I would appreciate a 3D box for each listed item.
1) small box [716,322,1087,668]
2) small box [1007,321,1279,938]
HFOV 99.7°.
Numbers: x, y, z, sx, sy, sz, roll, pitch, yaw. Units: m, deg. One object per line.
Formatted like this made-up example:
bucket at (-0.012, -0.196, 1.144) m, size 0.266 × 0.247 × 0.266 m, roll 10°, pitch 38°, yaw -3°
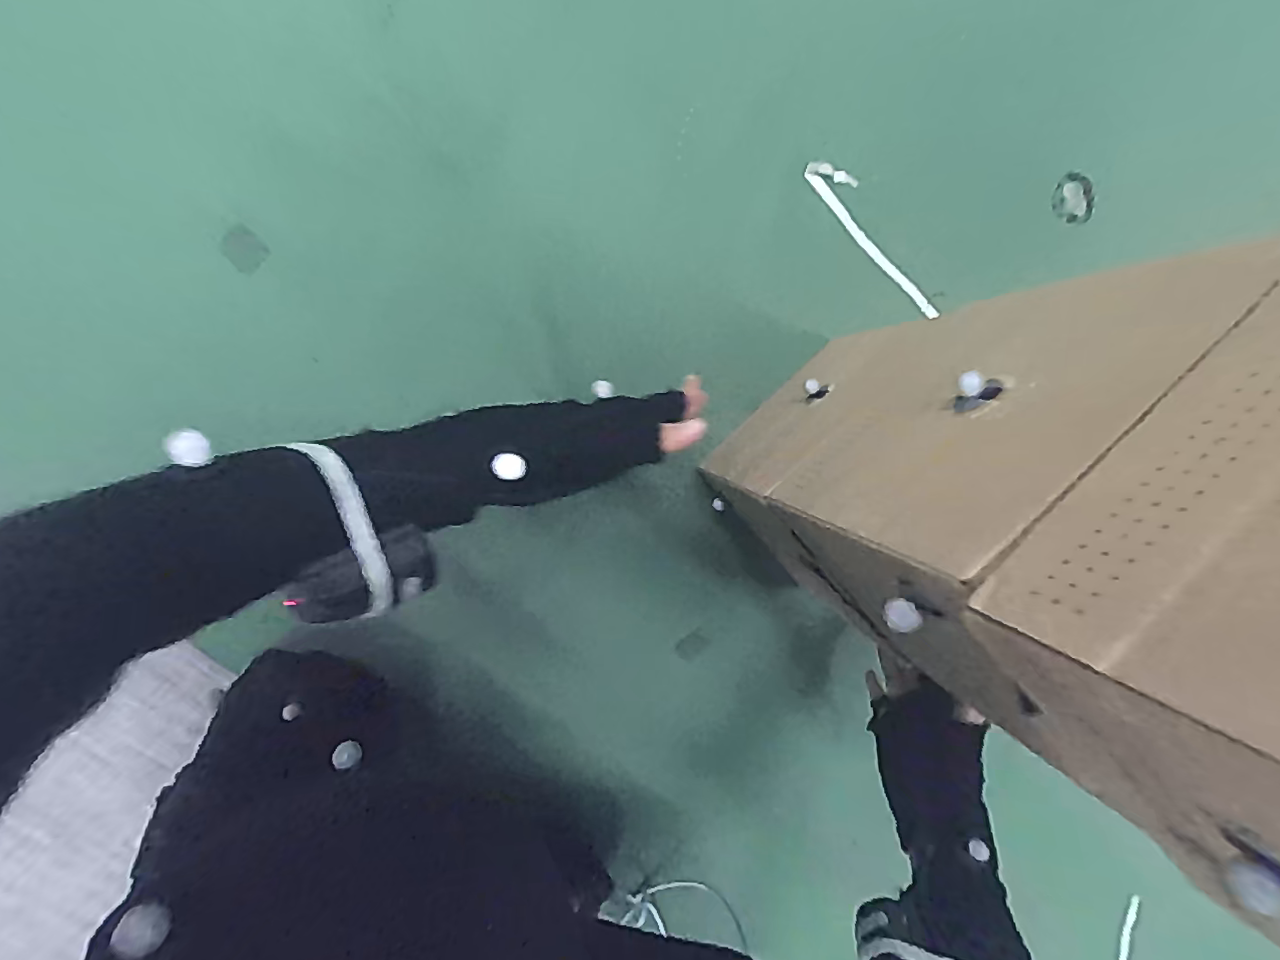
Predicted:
small box at (0.180, 0.003, 0.434) m, size 0.179 × 0.176 × 0.168 m, roll -45°, pitch 102°, yaw 1°
small box at (0.236, 0.049, 0.114) m, size 0.179 × 0.176 × 0.168 m, roll -45°, pitch 103°, yaw -1°
